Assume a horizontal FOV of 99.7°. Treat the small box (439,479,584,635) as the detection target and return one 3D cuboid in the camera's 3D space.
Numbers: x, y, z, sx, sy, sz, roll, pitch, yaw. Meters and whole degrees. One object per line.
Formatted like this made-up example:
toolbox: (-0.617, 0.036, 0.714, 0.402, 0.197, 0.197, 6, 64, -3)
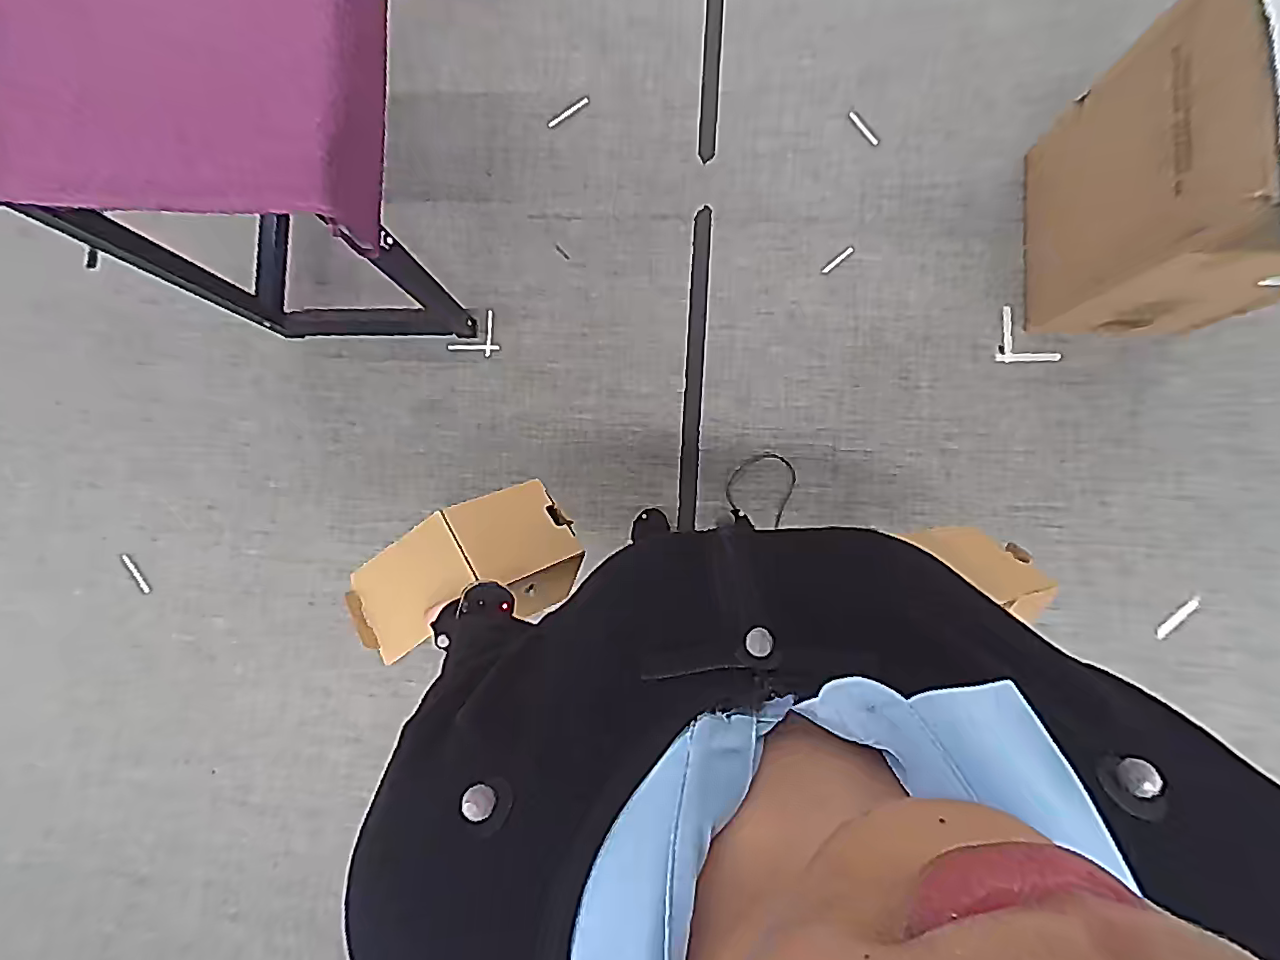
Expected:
small box: (-0.218, 0.130, 0.902, 0.179, 0.176, 0.168, -20, 61, -33)
